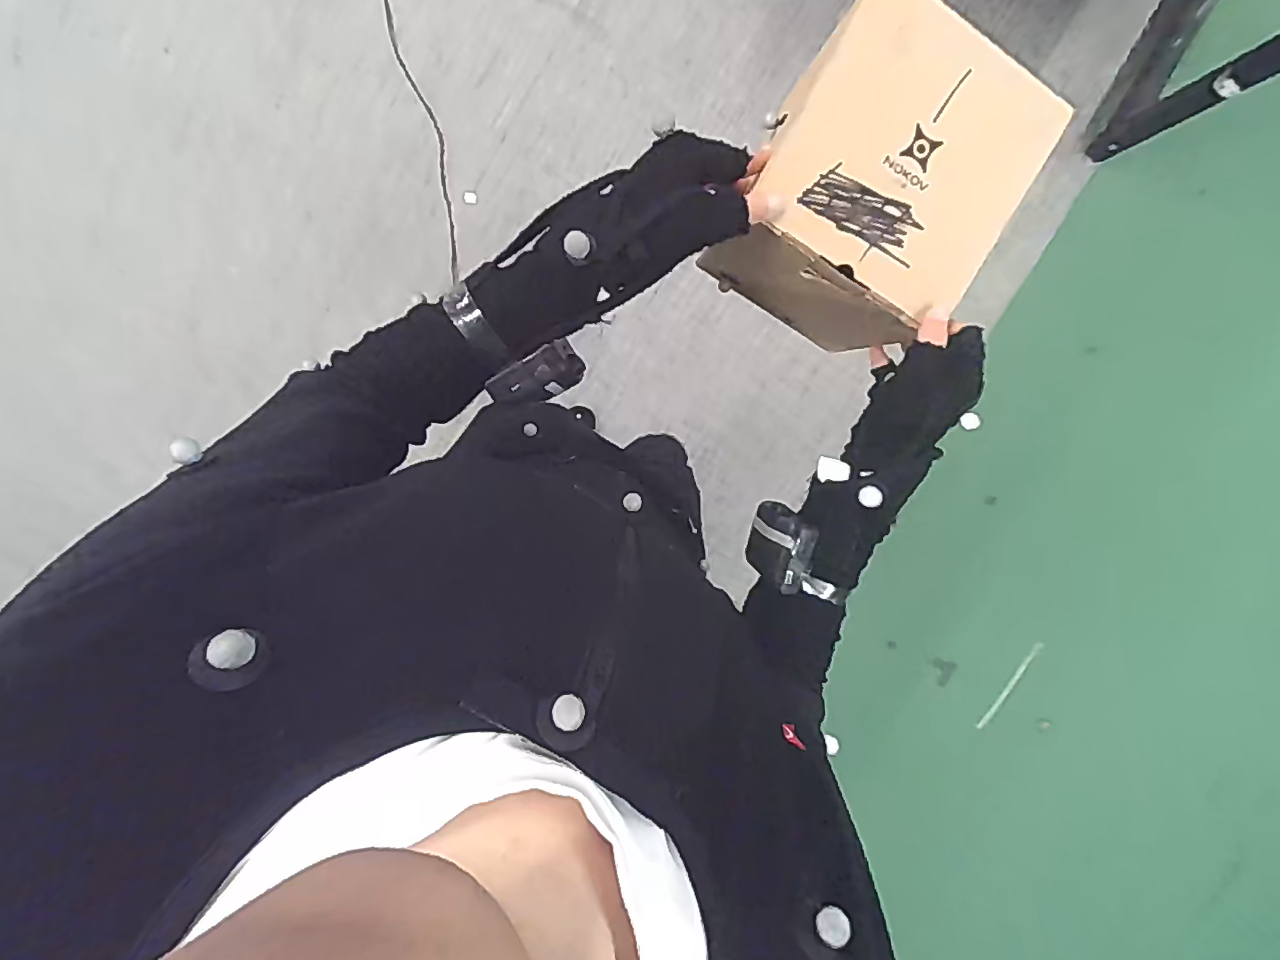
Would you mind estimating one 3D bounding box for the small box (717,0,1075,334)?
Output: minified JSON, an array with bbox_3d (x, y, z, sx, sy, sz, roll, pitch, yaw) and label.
[{"bbox_3d":[0.179,-0.238,0.442,0.168,0.176,0.179,29,95,-10],"label":"small box"}]
